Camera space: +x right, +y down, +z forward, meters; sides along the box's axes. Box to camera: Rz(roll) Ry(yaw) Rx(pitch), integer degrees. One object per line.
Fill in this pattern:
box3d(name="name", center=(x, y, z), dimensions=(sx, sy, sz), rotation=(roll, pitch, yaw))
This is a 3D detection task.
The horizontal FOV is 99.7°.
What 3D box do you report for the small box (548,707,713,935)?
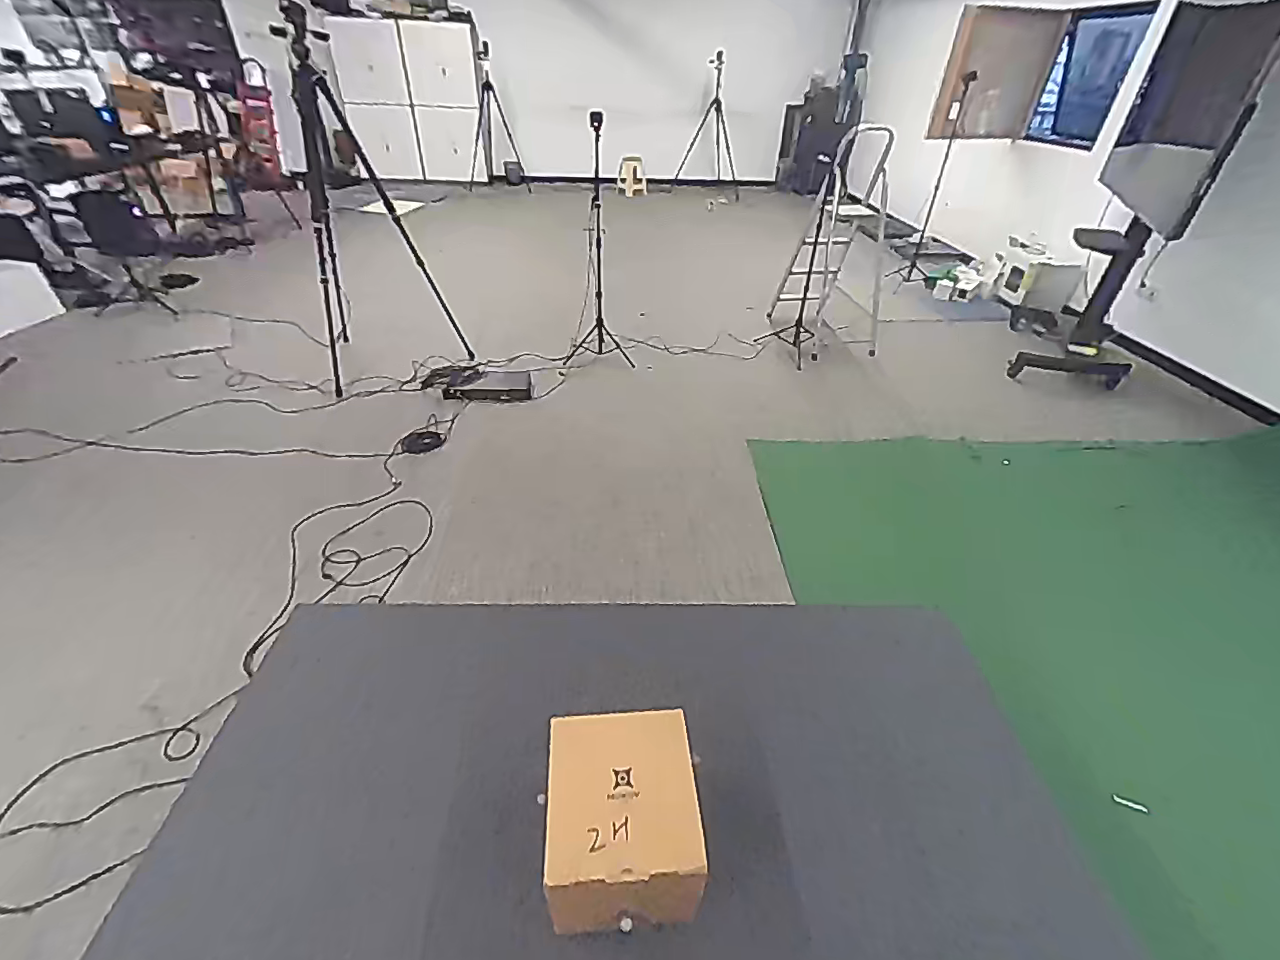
box3d(name="small box", center=(-0.018, 0.398, 0.640), dimensions=(0.168, 0.176, 0.179), rotation=(-2, 37, -5))
